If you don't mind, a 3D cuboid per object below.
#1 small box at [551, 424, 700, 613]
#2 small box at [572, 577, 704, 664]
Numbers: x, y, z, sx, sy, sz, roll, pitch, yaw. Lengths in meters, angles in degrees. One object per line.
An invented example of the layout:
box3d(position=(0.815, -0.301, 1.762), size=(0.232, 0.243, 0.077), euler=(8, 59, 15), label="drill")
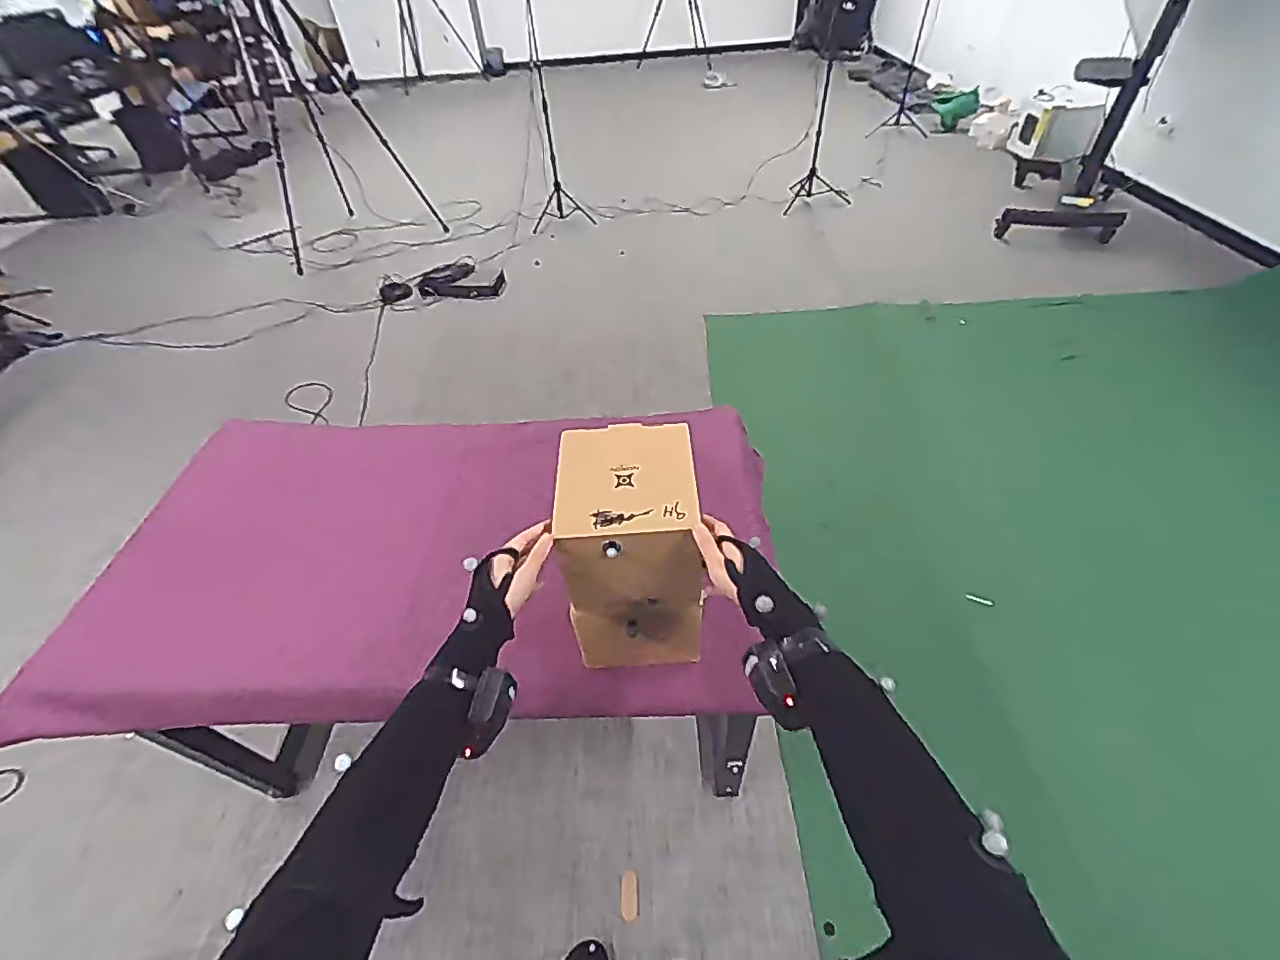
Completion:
box3d(position=(-0.011, 0.051, 0.702), size=(0.168, 0.176, 0.179), euler=(-5, 47, 3), label="small box")
box3d(position=(0.000, 0.164, 0.820), size=(0.179, 0.176, 0.168), euler=(-5, 47, 3), label="small box")
